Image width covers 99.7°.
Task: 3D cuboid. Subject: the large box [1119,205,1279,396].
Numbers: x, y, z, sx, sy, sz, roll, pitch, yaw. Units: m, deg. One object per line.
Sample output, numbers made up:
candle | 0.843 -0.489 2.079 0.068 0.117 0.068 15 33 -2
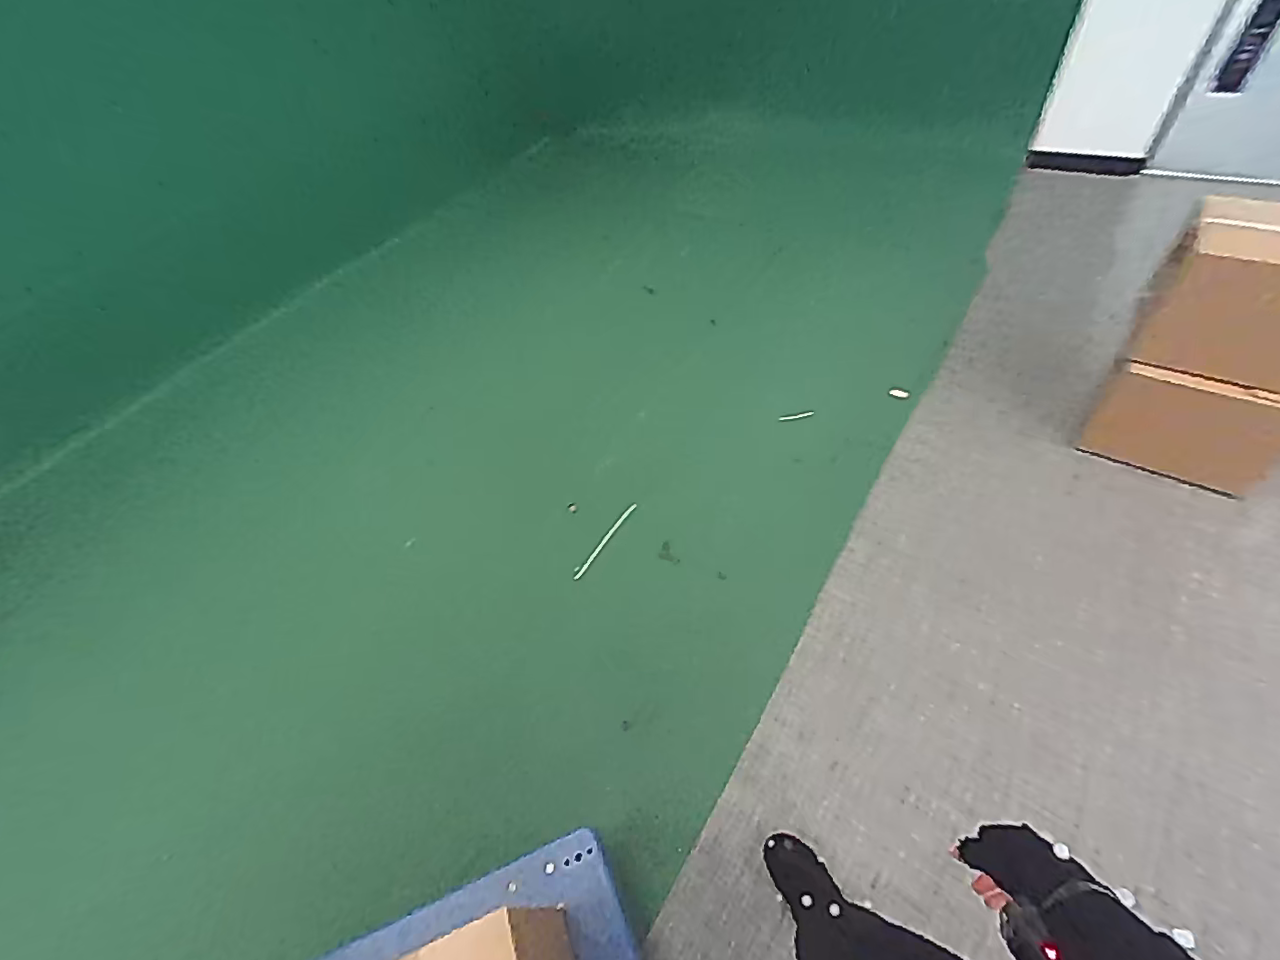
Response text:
large box | 1.531 -0.450 1.357 0.408 0.320 0.320 24 56 26
